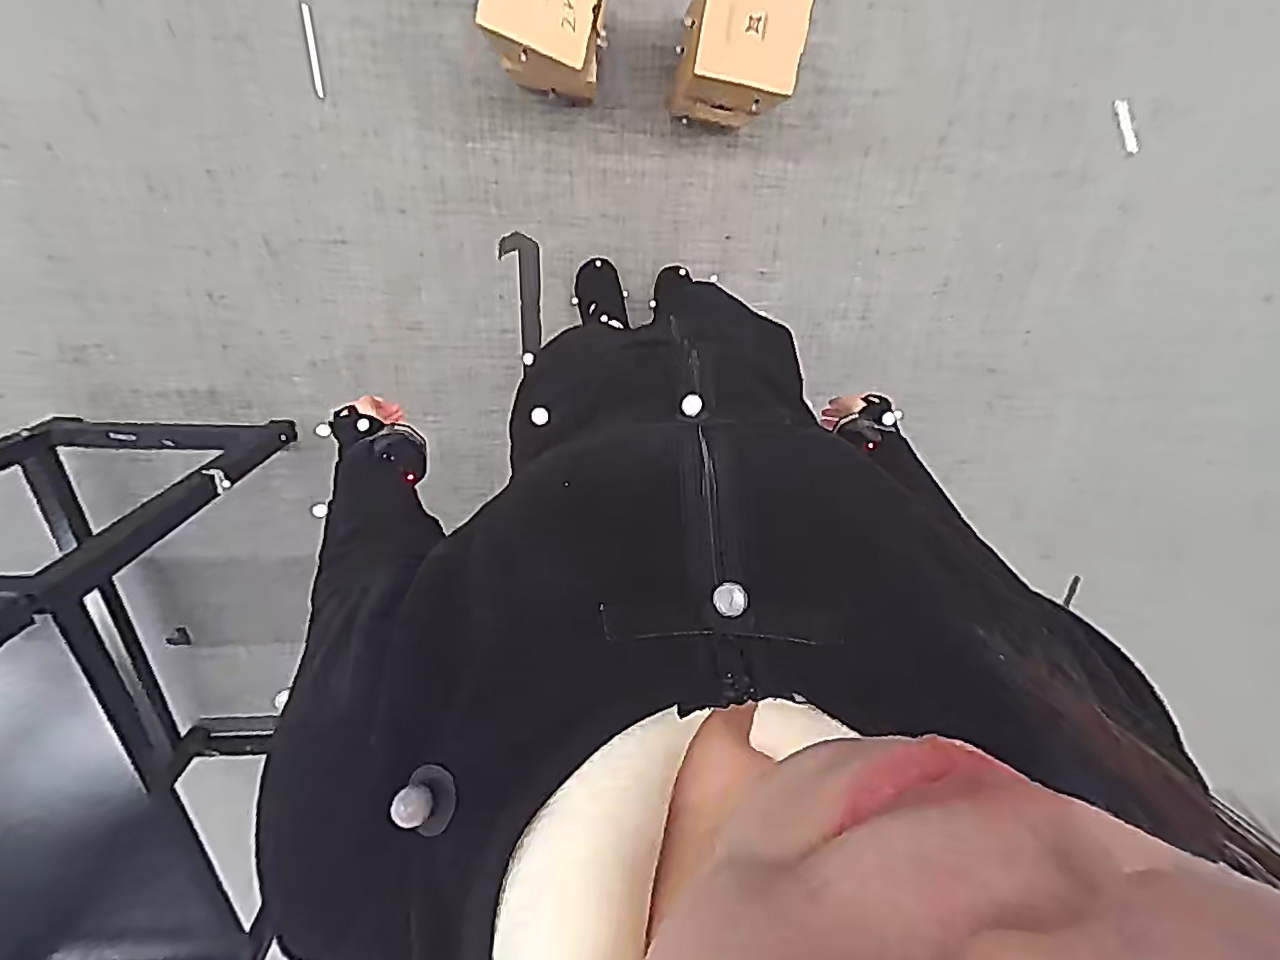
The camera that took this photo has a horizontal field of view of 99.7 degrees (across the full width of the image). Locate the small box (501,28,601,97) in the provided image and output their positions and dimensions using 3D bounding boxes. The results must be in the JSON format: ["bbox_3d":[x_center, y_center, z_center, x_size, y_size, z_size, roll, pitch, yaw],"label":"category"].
[{"bbox_3d":[-0.167,-0.857,1.036,0.179,0.176,0.168,5,115,-9],"label":"small box"}]

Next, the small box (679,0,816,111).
[{"bbox_3d":[0.178,-0.761,0.935,0.179,0.176,0.168,8,114,-9],"label":"small box"}]

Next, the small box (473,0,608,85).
[{"bbox_3d":[-0.154,-0.786,0.887,0.179,0.176,0.168,17,114,-13],"label":"small box"}]

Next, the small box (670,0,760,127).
[{"bbox_3d":[0.161,-0.829,1.082,0.168,0.176,0.179,6,115,-9],"label":"small box"}]
